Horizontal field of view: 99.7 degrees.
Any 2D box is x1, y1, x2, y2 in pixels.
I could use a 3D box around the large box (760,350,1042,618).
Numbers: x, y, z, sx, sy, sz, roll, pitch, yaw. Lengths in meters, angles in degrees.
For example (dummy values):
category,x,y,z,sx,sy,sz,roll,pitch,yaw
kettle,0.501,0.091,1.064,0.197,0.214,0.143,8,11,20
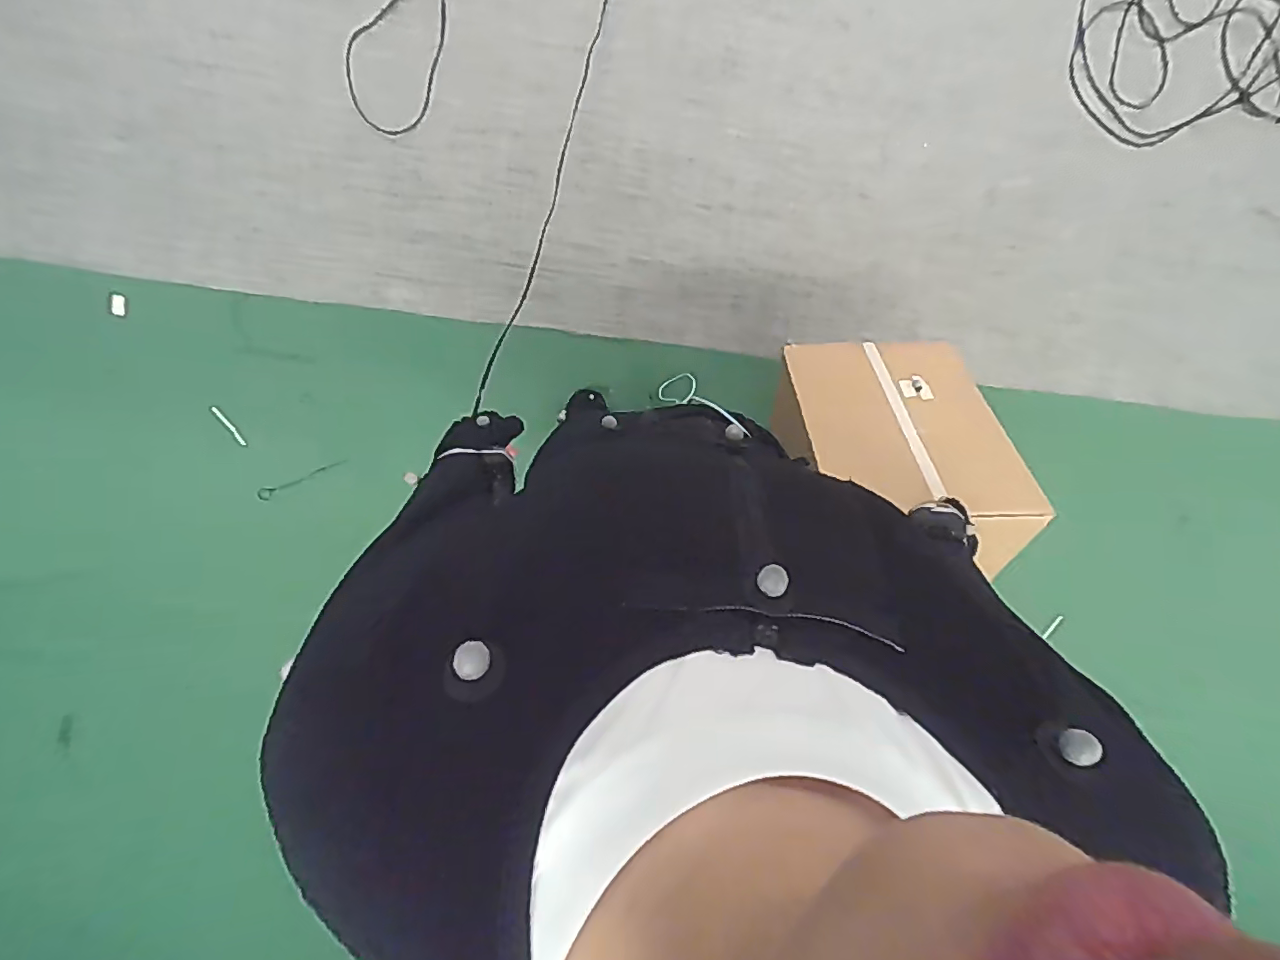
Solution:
category,x,y,z,sx,sy,sz,roll,pitch,yaw
large box,0.427,0.006,1.015,0.320,0.408,0.320,-1,140,0
